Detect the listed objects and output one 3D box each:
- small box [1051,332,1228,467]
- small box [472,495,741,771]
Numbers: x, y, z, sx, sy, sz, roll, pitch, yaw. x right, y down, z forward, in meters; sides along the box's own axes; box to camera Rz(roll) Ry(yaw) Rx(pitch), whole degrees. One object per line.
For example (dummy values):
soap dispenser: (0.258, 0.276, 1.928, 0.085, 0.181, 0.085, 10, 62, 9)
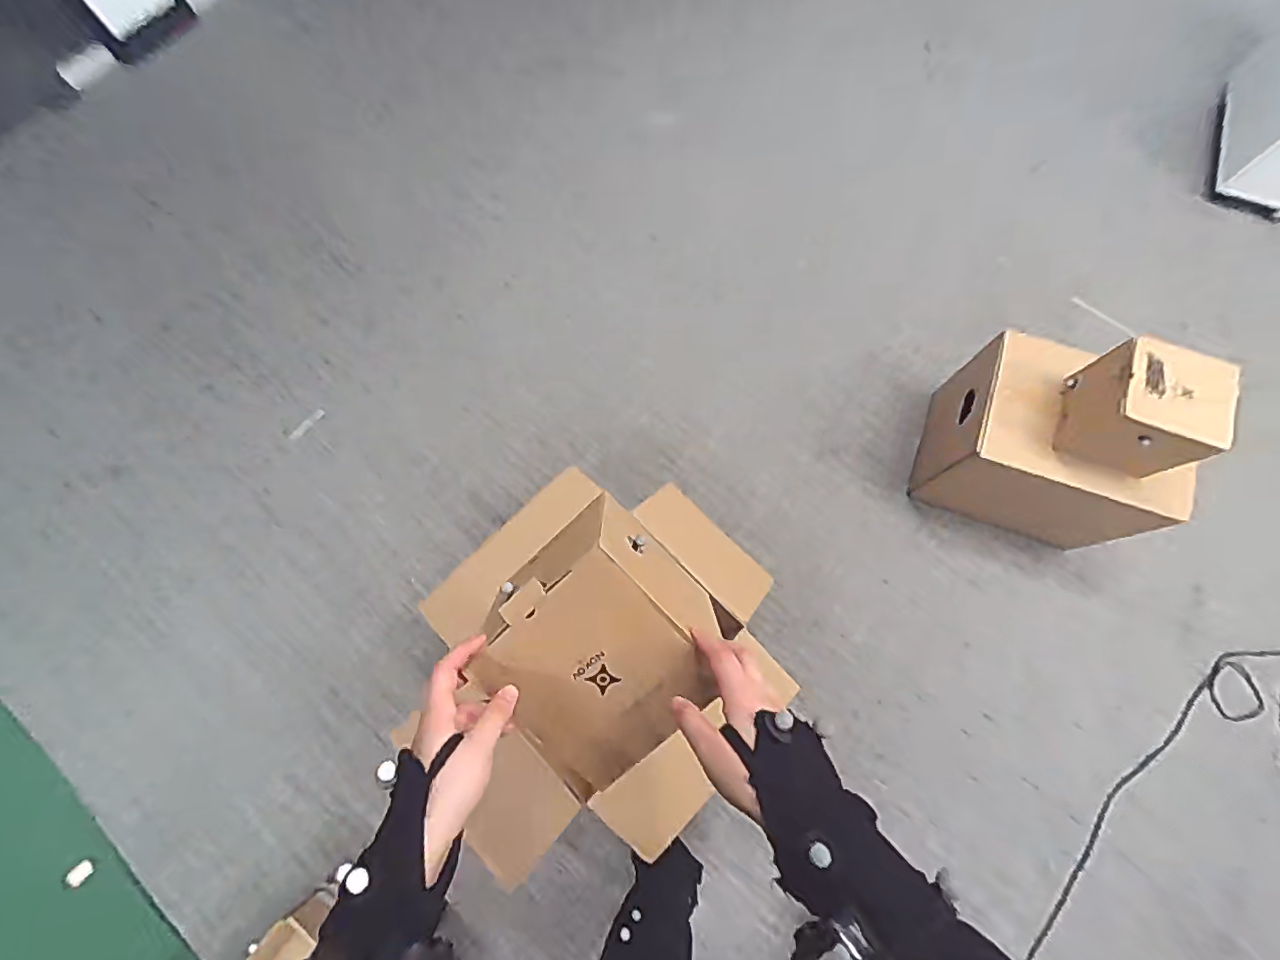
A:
small box: (0.917, -0.142, 1.008, 0.179, 0.176, 0.168, 20, 75, 7)
small box: (-0.031, 0.133, 0.541, 0.168, 0.176, 0.179, -44, 102, 9)
